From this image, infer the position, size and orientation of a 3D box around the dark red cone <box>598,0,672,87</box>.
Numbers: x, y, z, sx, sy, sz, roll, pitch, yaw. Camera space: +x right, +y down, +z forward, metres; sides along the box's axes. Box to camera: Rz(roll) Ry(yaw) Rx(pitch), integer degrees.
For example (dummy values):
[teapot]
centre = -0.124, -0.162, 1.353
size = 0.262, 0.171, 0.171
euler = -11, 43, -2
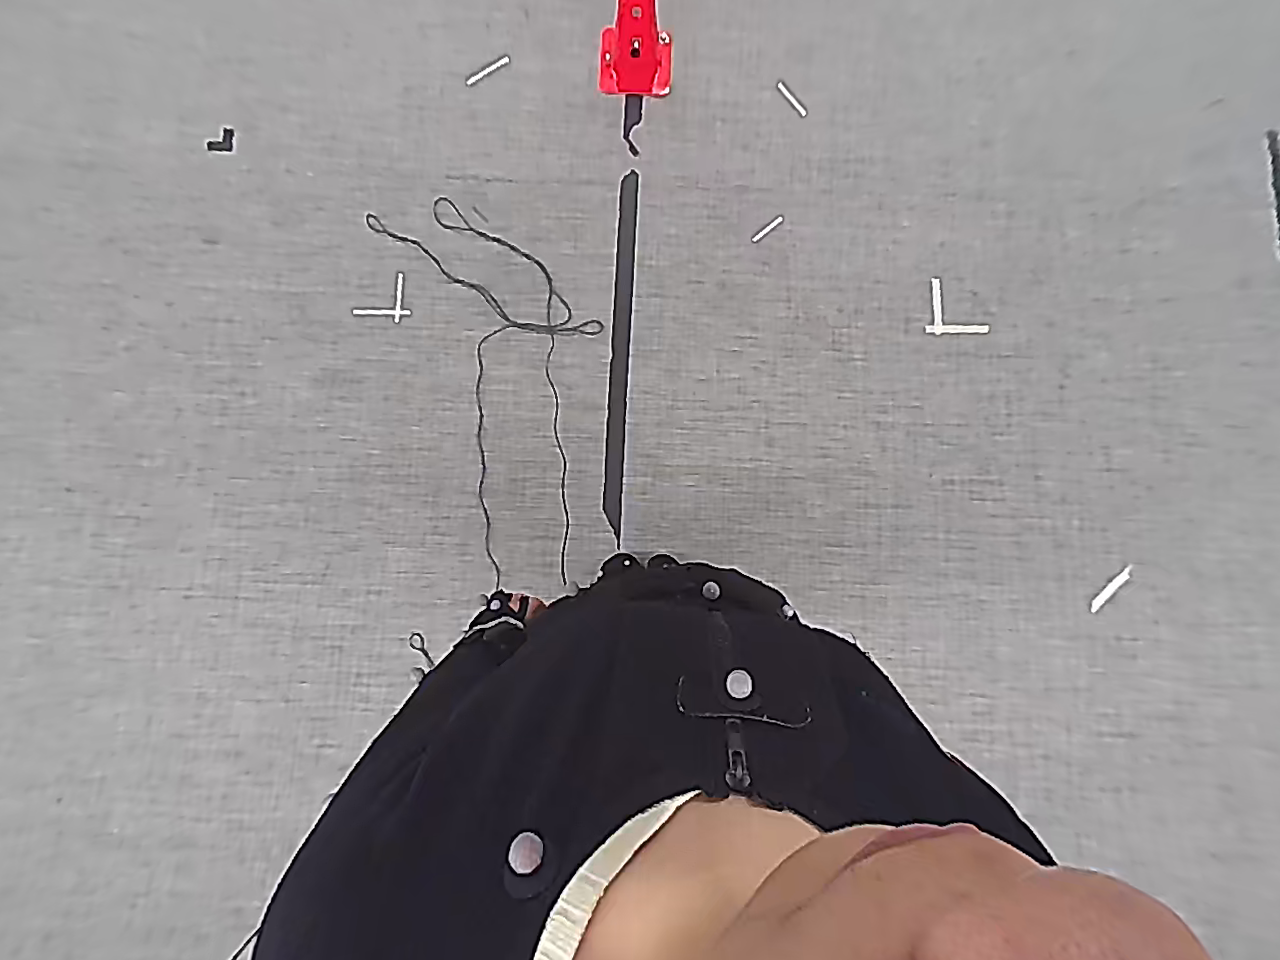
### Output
[dark red cone]
centre = -0.013, -1.197, 1.327
size = 0.201, 0.394, 0.202
euler = 2, 85, 0
